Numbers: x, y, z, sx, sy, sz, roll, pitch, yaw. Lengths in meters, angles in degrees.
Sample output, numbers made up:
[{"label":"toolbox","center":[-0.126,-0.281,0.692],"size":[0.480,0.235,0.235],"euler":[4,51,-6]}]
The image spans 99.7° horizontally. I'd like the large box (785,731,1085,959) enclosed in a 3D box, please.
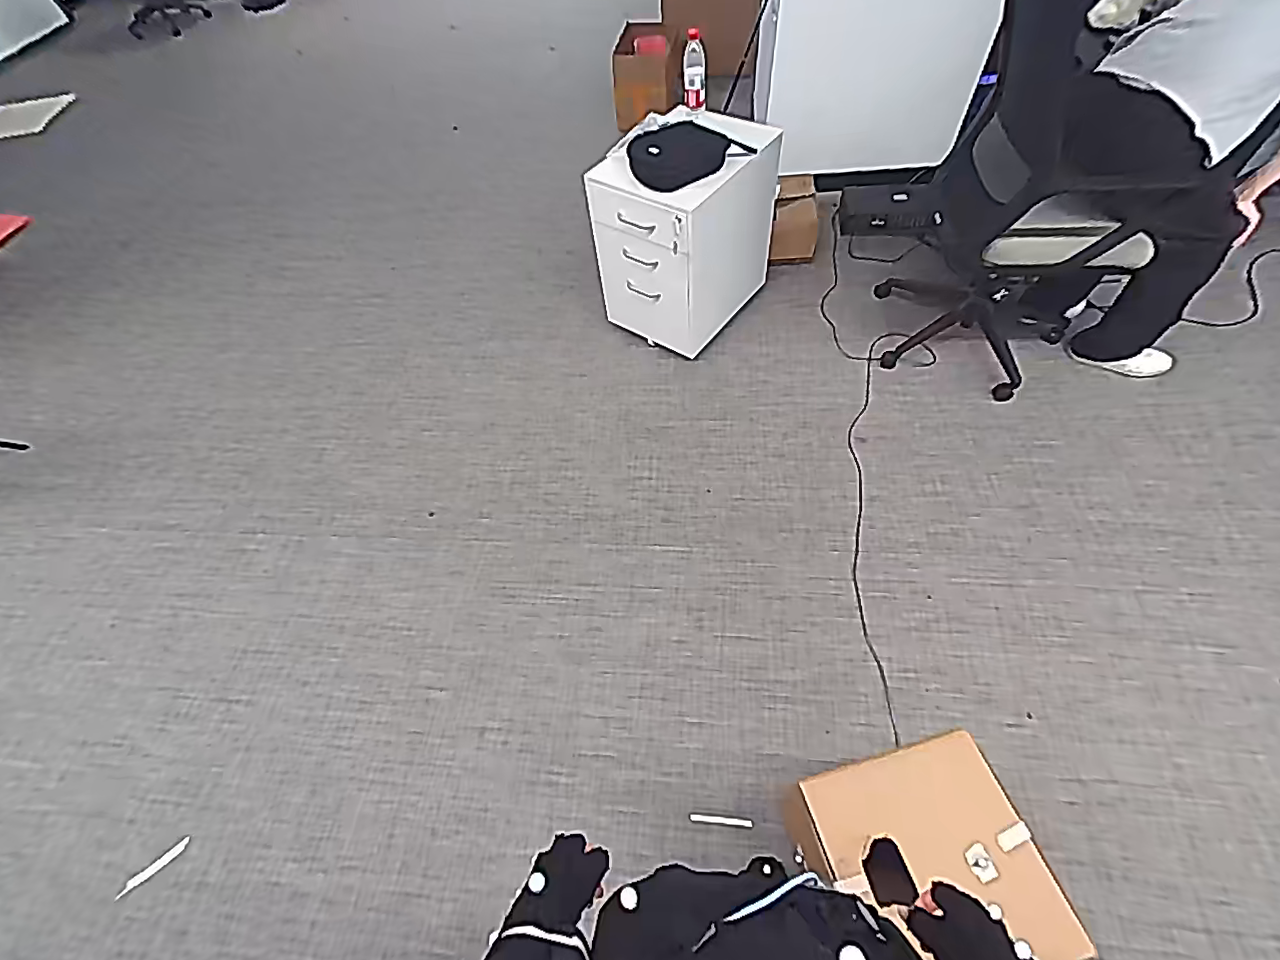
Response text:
[{"label":"large box","center":[0.487,0.705,1.003],"size":[0.320,0.408,0.320],"euler":[-17,55,-1]}]
